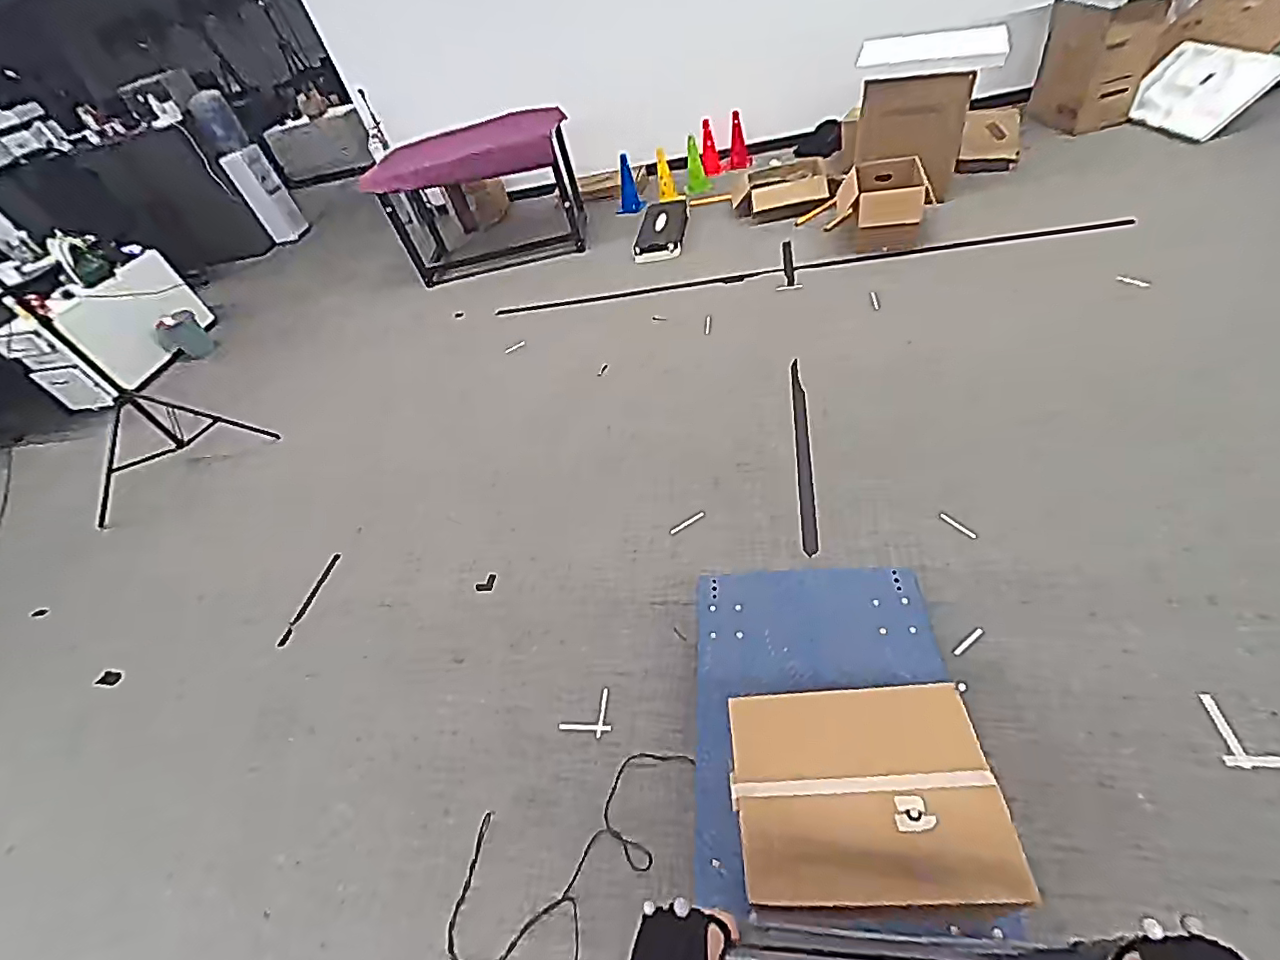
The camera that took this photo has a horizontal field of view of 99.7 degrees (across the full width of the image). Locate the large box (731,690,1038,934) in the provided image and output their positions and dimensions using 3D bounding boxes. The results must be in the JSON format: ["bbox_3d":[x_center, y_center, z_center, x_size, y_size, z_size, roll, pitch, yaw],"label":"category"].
[{"bbox_3d":[0.392,0.613,0.990,0.408,0.320,0.320,-7,46,8],"label":"large box"}]
